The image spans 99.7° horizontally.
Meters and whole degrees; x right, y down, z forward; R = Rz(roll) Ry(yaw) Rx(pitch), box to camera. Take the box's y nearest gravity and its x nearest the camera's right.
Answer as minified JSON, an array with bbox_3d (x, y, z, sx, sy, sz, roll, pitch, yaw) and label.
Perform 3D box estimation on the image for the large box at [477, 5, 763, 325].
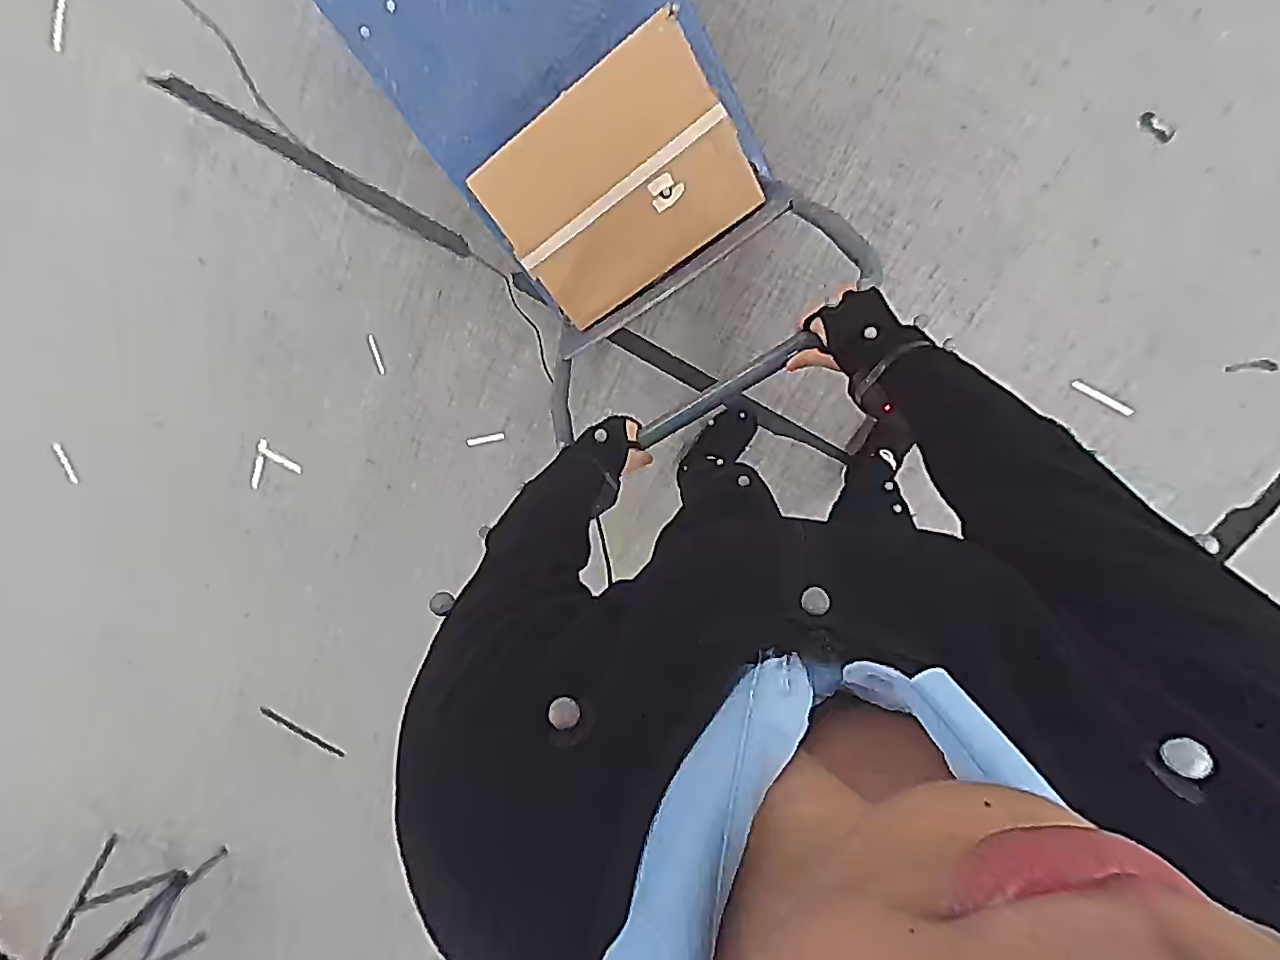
[{"bbox_3d":[-0.038,-0.578,1.047,0.408,0.320,0.320,-32,119,16],"label":"large box"}]
